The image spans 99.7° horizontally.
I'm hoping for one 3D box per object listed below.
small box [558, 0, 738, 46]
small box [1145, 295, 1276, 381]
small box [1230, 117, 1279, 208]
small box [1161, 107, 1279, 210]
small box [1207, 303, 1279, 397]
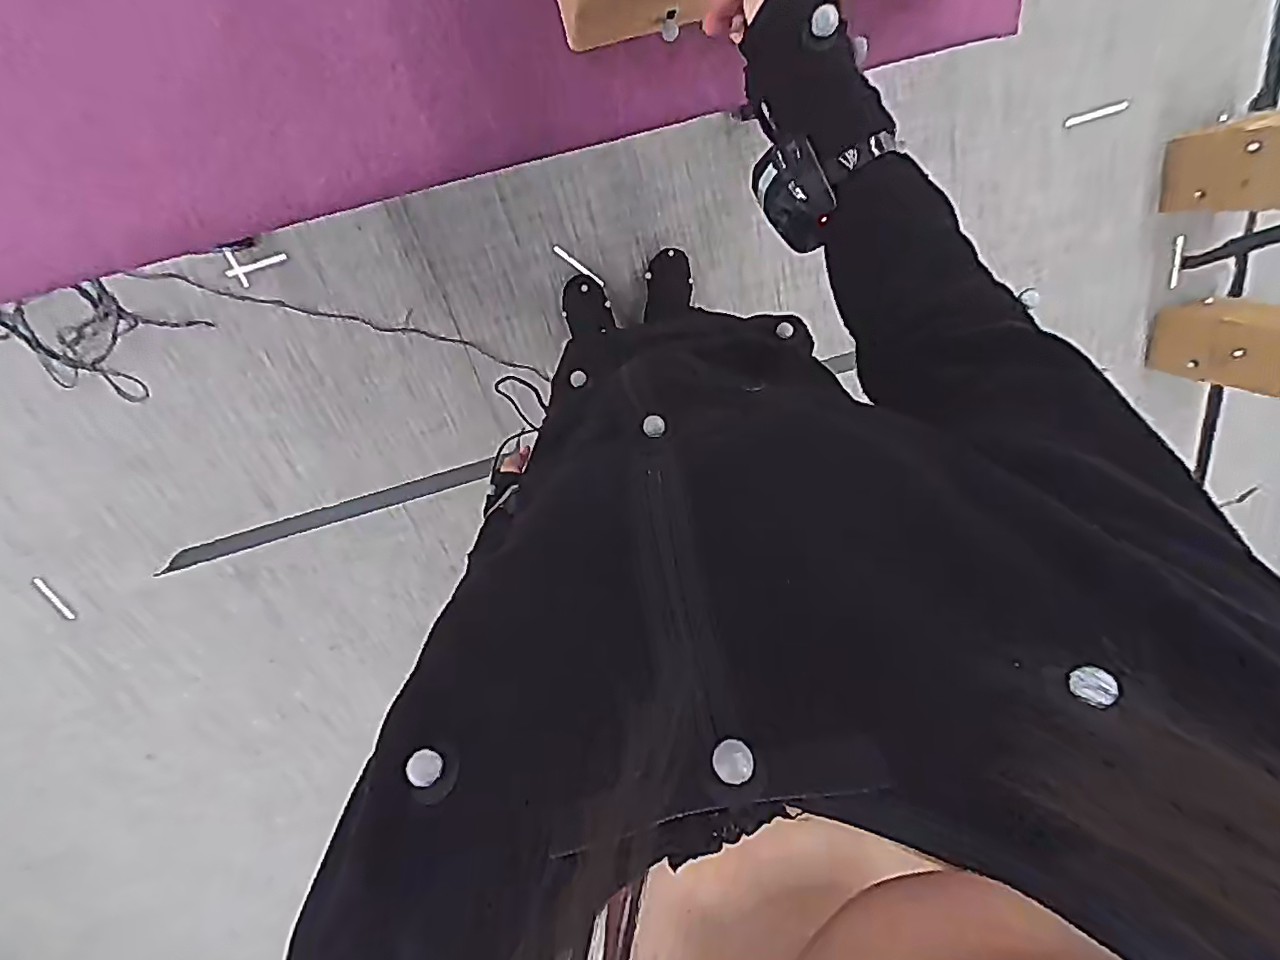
[{"bbox_3d":[0.014,-0.459,0.398,0.179,0.176,0.168,-16,117,-2],"label":"small box"},{"bbox_3d":[1.539,-0.391,1.471,0.168,0.176,0.179,-14,117,-2],"label":"small box"},{"bbox_3d":[1.418,-0.683,1.135,0.179,0.176,0.168,-18,116,-2],"label":"small box"},{"bbox_3d":[1.395,-0.756,1.280,0.168,0.176,0.179,-20,115,0],"label":"small box"},{"bbox_3d":[1.574,-0.326,1.325,0.179,0.176,0.168,-17,117,0],"label":"small box"}]
